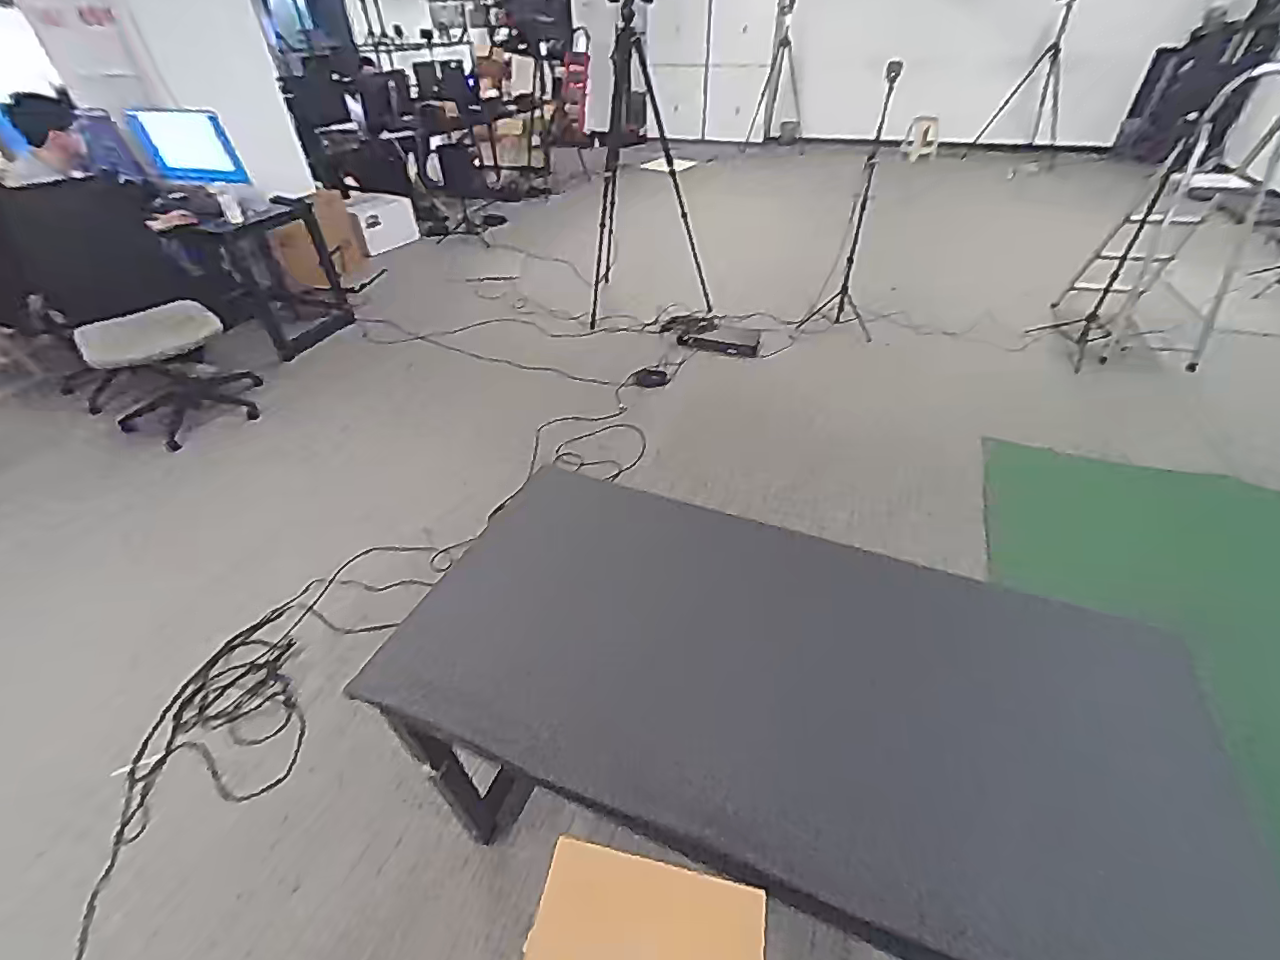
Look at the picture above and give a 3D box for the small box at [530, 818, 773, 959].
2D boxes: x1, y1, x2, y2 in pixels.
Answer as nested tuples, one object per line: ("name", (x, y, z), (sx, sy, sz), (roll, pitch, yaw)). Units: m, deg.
("small box", (0.001, 0.402, 0.416), (0.168, 0.176, 0.179), (9, 43, 9))
